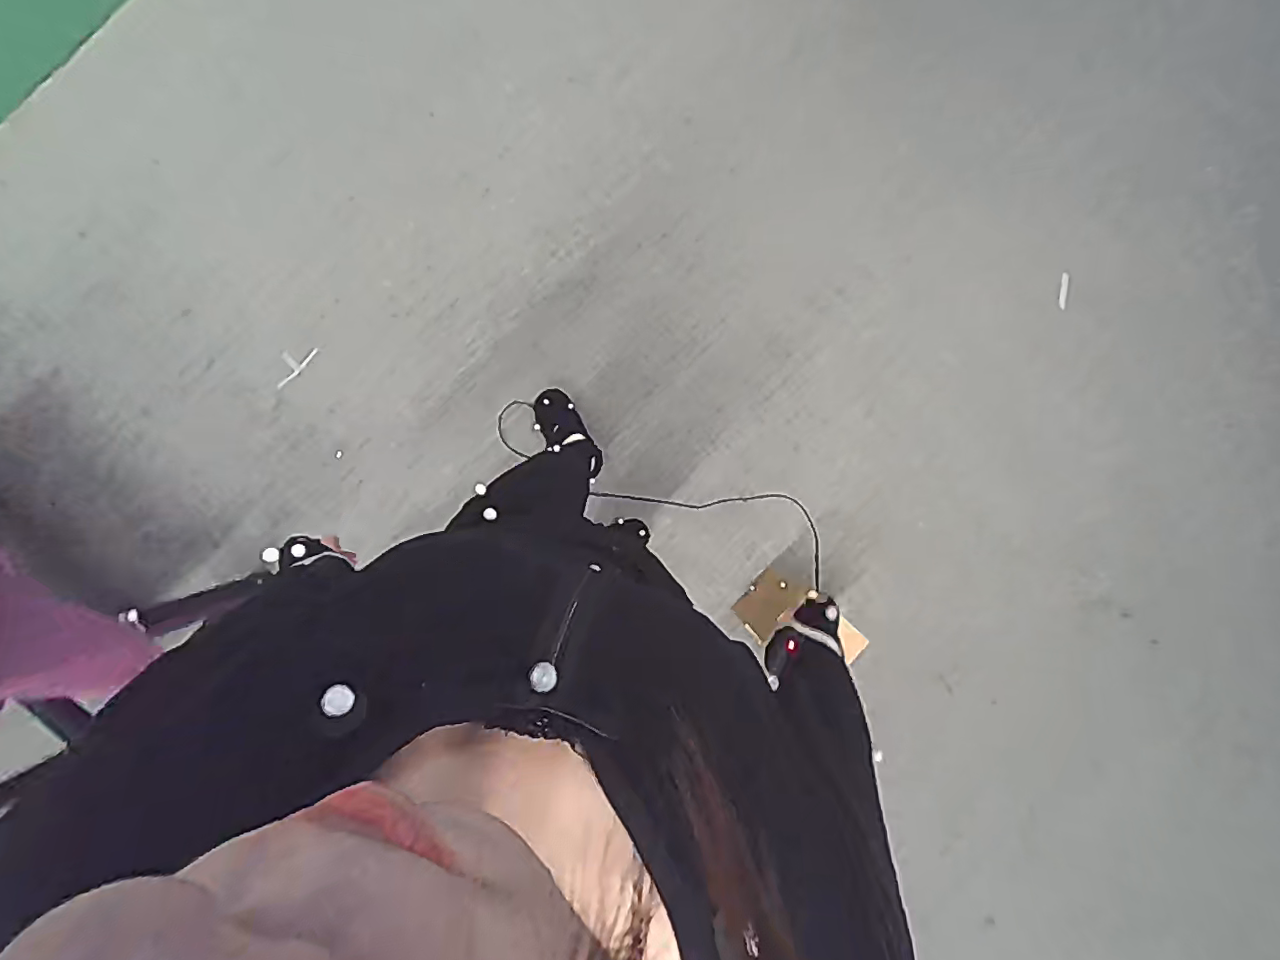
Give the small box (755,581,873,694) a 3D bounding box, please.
[{"bbox_3d":[0.397,0.357,1.271,0.179,0.176,0.168,43,91,-2],"label":"small box"}]
